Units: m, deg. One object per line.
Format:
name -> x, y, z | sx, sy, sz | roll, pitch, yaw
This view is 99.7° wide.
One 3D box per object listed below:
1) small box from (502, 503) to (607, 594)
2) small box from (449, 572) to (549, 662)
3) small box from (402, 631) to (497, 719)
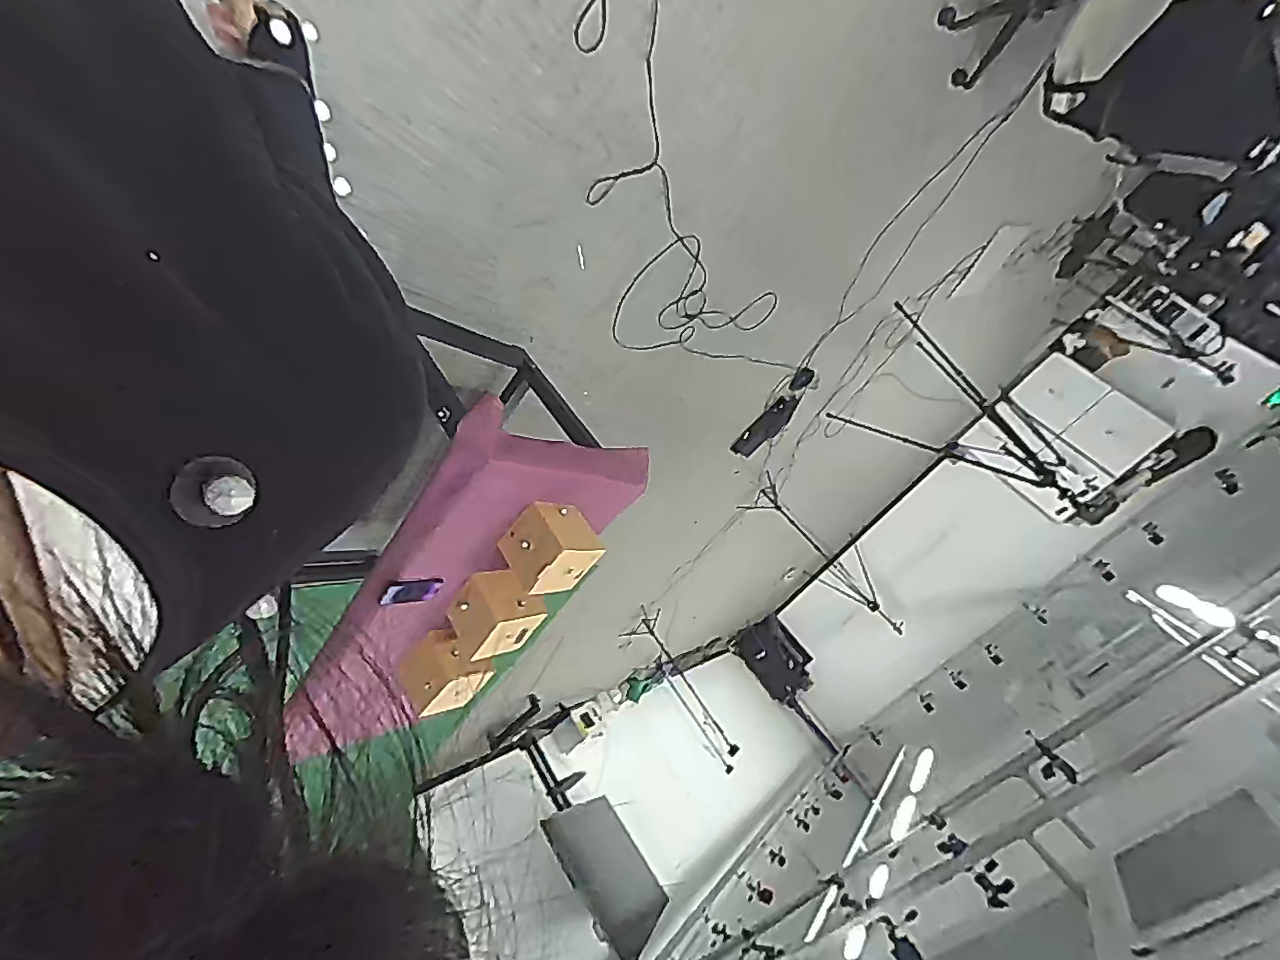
small box -> -0.227, 0.176, 1.411 | 0.168, 0.176, 0.179 | -48, 151, 18
small box -> -0.393, 0.369, 1.497 | 0.179, 0.176, 0.168 | 5, 129, -53
small box -> -0.559, 0.554, 1.572 | 0.179, 0.176, 0.168 | -48, 151, 16
